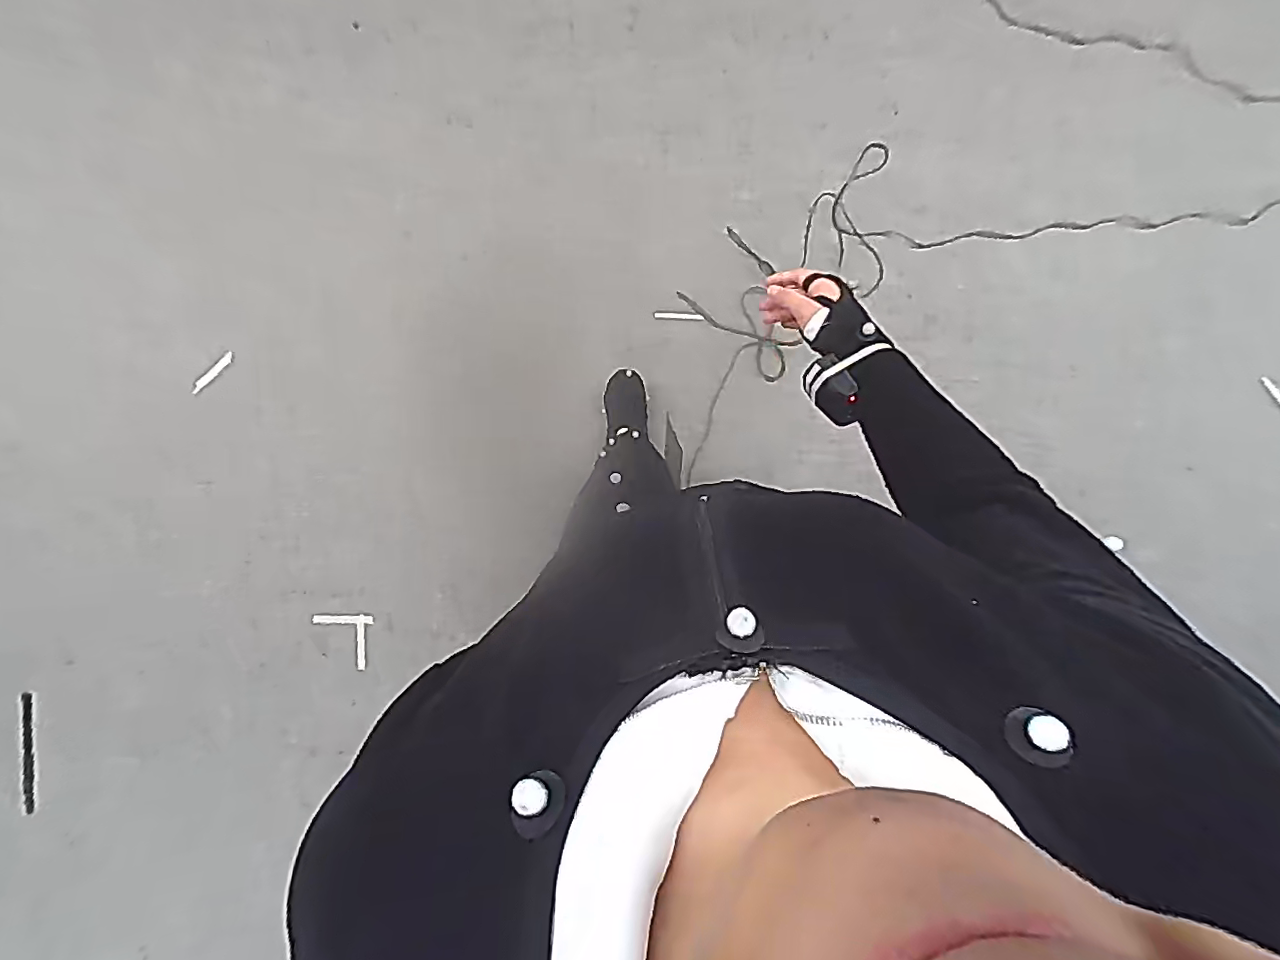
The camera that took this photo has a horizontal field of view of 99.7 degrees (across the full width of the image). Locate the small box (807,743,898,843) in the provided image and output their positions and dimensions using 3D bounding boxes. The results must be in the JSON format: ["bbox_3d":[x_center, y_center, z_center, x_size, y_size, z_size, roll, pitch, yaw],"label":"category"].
[{"bbox_3d":[0.558,0.823,1.436,0.179,0.176,0.168,2,92,3],"label":"small box"}]
